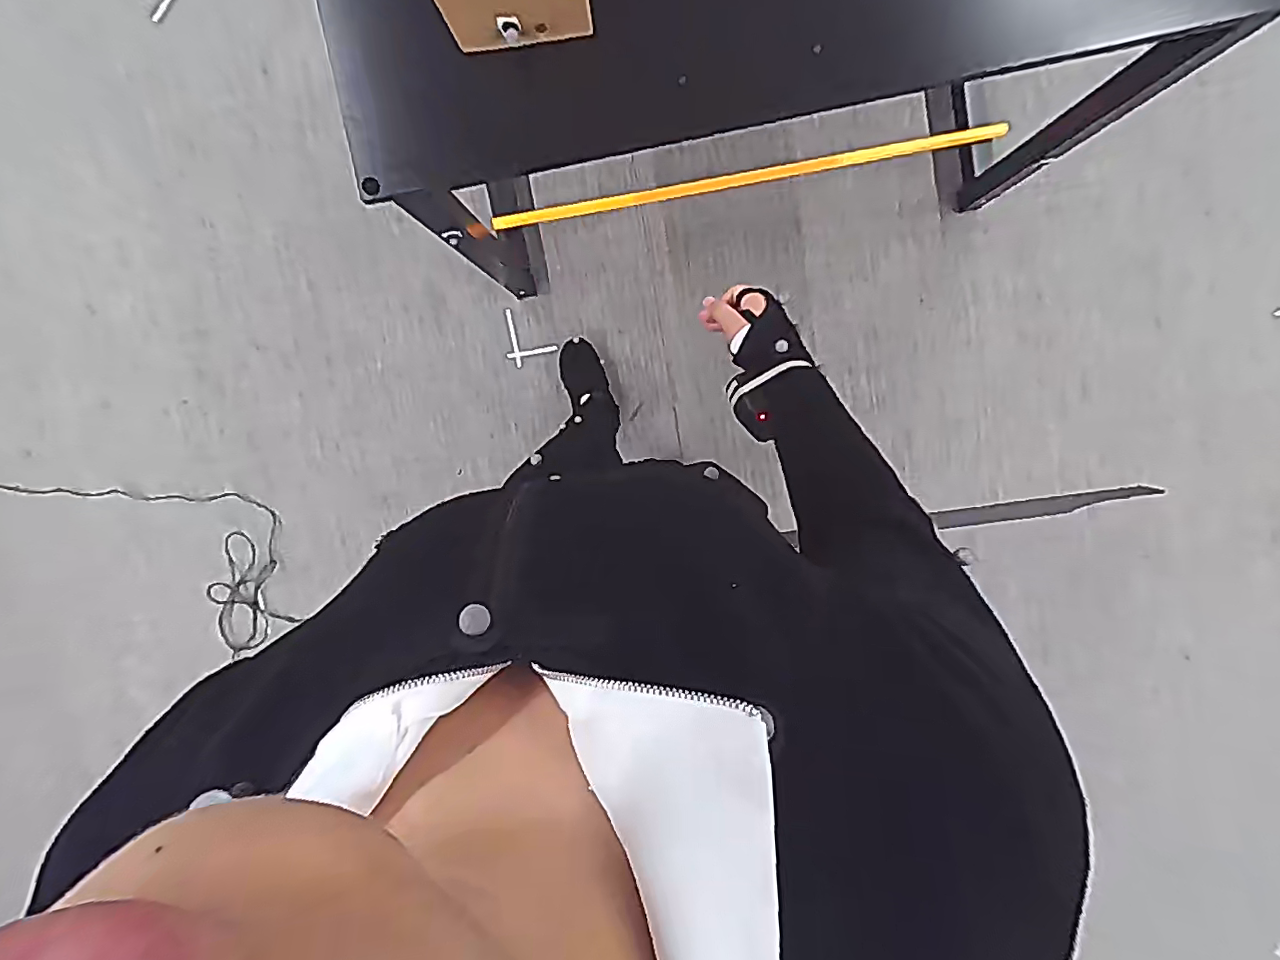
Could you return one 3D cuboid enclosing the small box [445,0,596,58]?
[{"bbox_3d":[-0.146,-0.610,0.583,0.168,0.176,0.179,-7,98,4],"label":"small box"}]
